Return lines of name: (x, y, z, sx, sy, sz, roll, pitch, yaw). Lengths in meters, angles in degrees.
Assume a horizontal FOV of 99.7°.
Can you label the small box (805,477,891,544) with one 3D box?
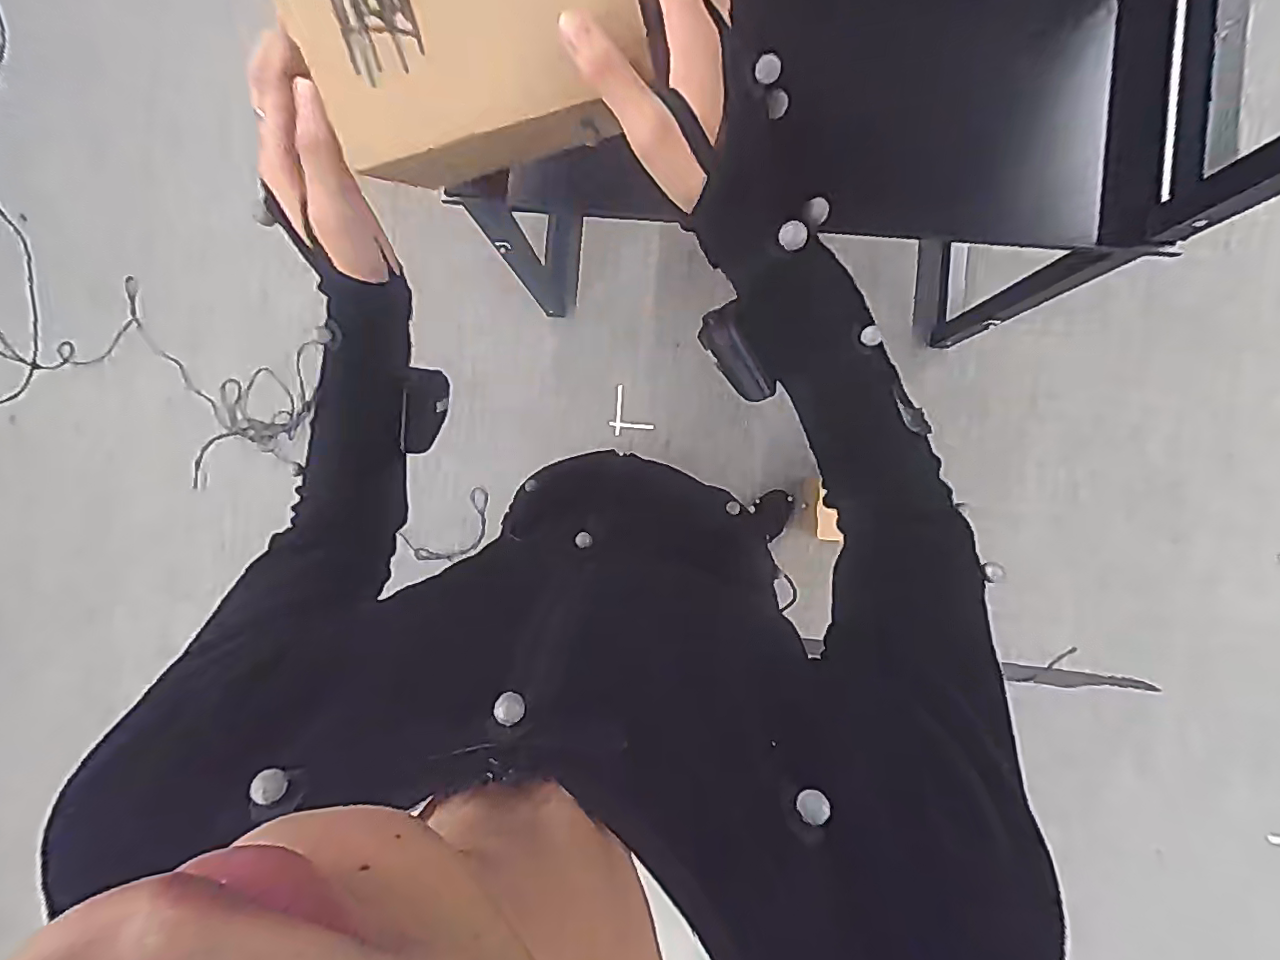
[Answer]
small box: (0.576, 0.080, 1.512, 0.179, 0.176, 0.168, 4, 91, 4)
